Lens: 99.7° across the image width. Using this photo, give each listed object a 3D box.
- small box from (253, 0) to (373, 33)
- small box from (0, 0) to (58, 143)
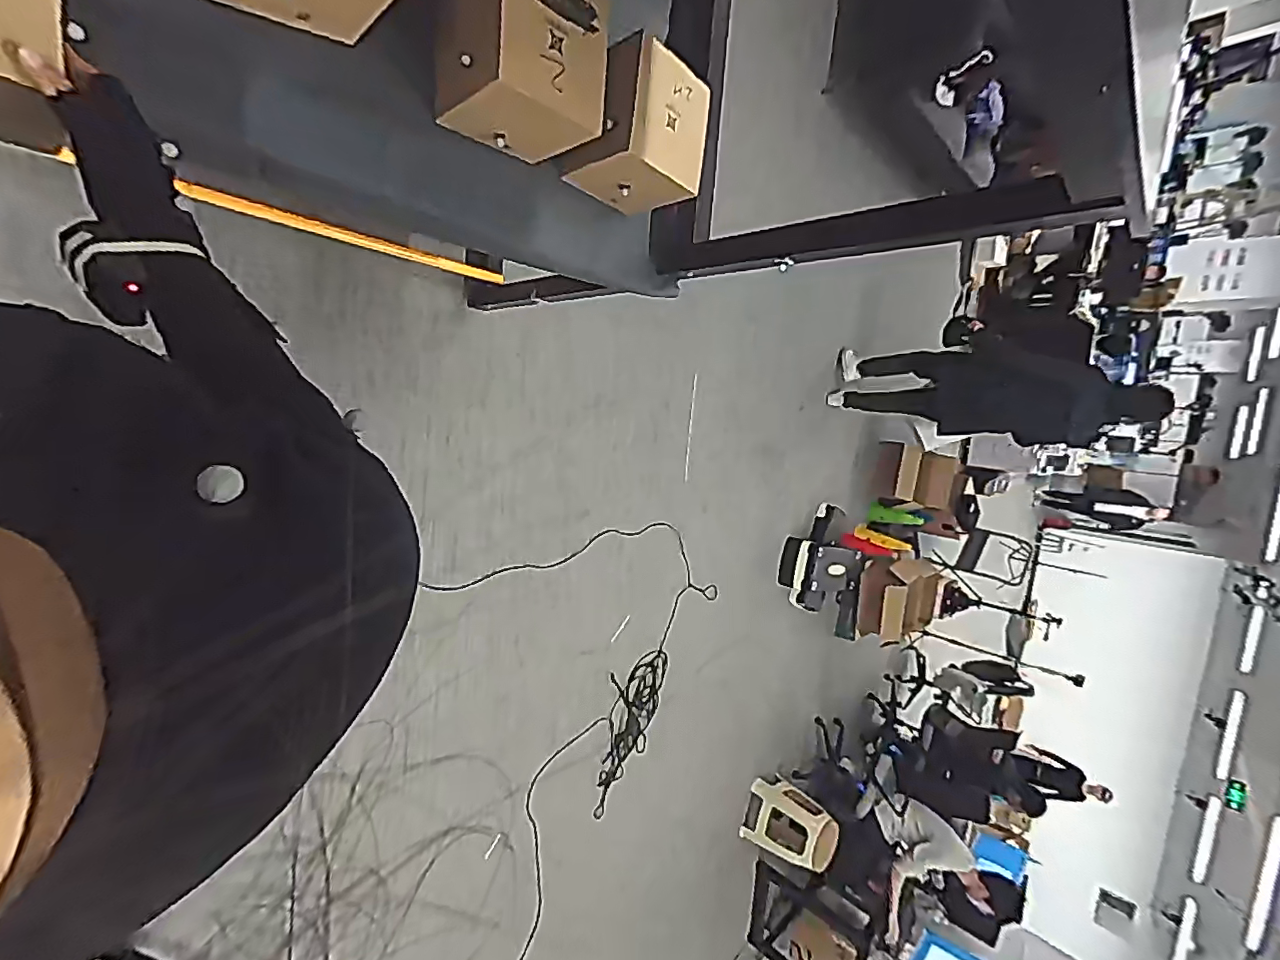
[{"bbox_3d":[-0.356,-0.592,0.530,0.168,0.176,0.179,-17,110,-44],"label":"small box"},{"bbox_3d":[-0.535,-0.379,0.379,0.168,0.176,0.179,-3,100,-48],"label":"small box"}]
